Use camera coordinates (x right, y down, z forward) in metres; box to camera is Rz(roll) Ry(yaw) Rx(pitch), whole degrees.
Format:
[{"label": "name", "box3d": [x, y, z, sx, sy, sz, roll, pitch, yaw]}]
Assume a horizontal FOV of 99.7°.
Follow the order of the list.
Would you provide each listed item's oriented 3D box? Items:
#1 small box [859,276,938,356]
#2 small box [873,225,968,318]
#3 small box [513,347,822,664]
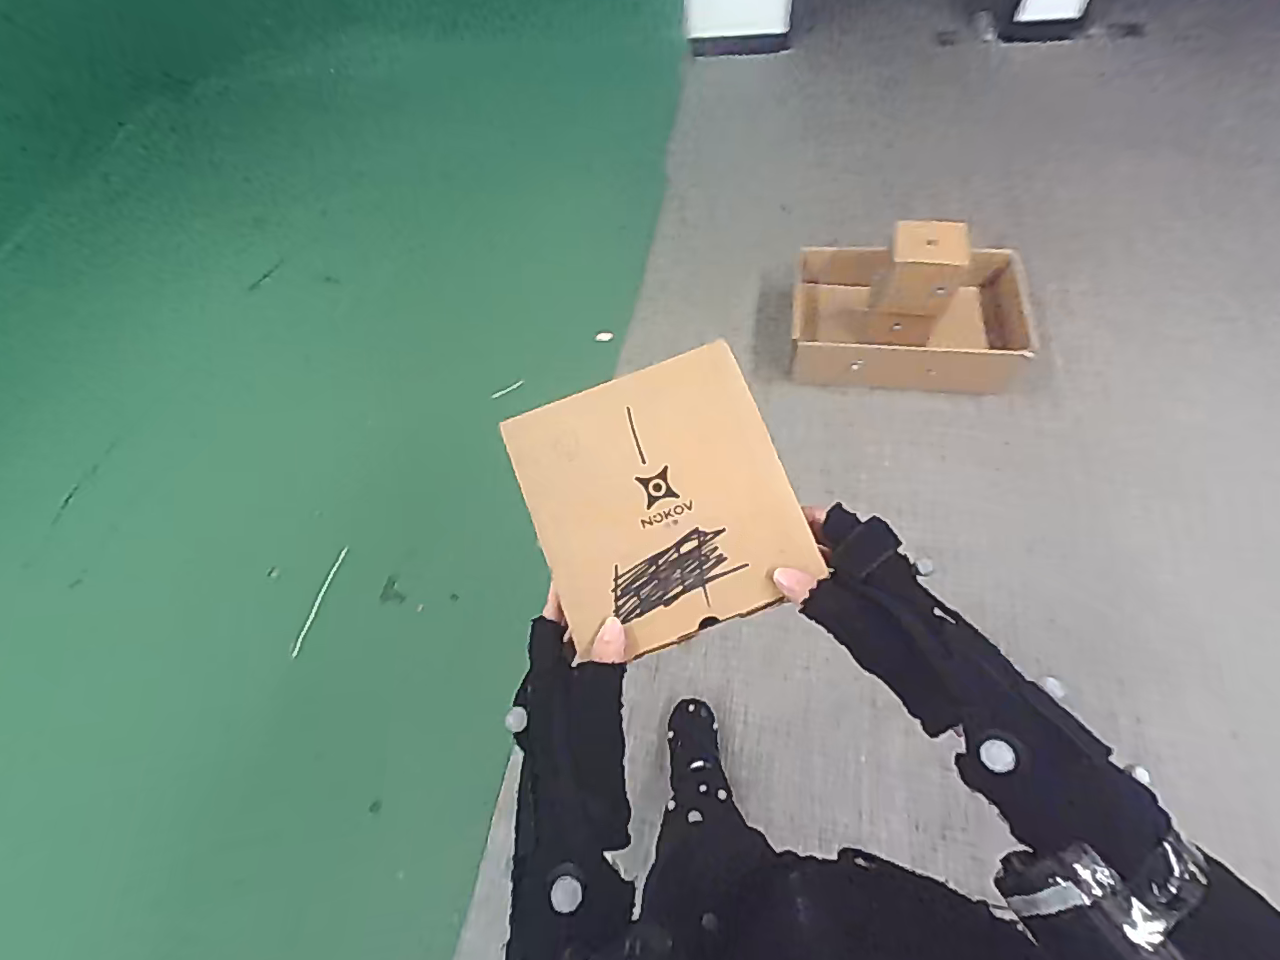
[{"label": "small box", "box3d": [0.761, -0.485, 1.610, 0.179, 0.176, 0.168, 4, 60, 10]}, {"label": "small box", "box3d": [0.738, -0.550, 1.440, 0.179, 0.176, 0.168, 5, 61, 10]}, {"label": "small box", "box3d": [0.019, 0.025, 0.440, 0.168, 0.176, 0.179, -20, 80, -2]}]
